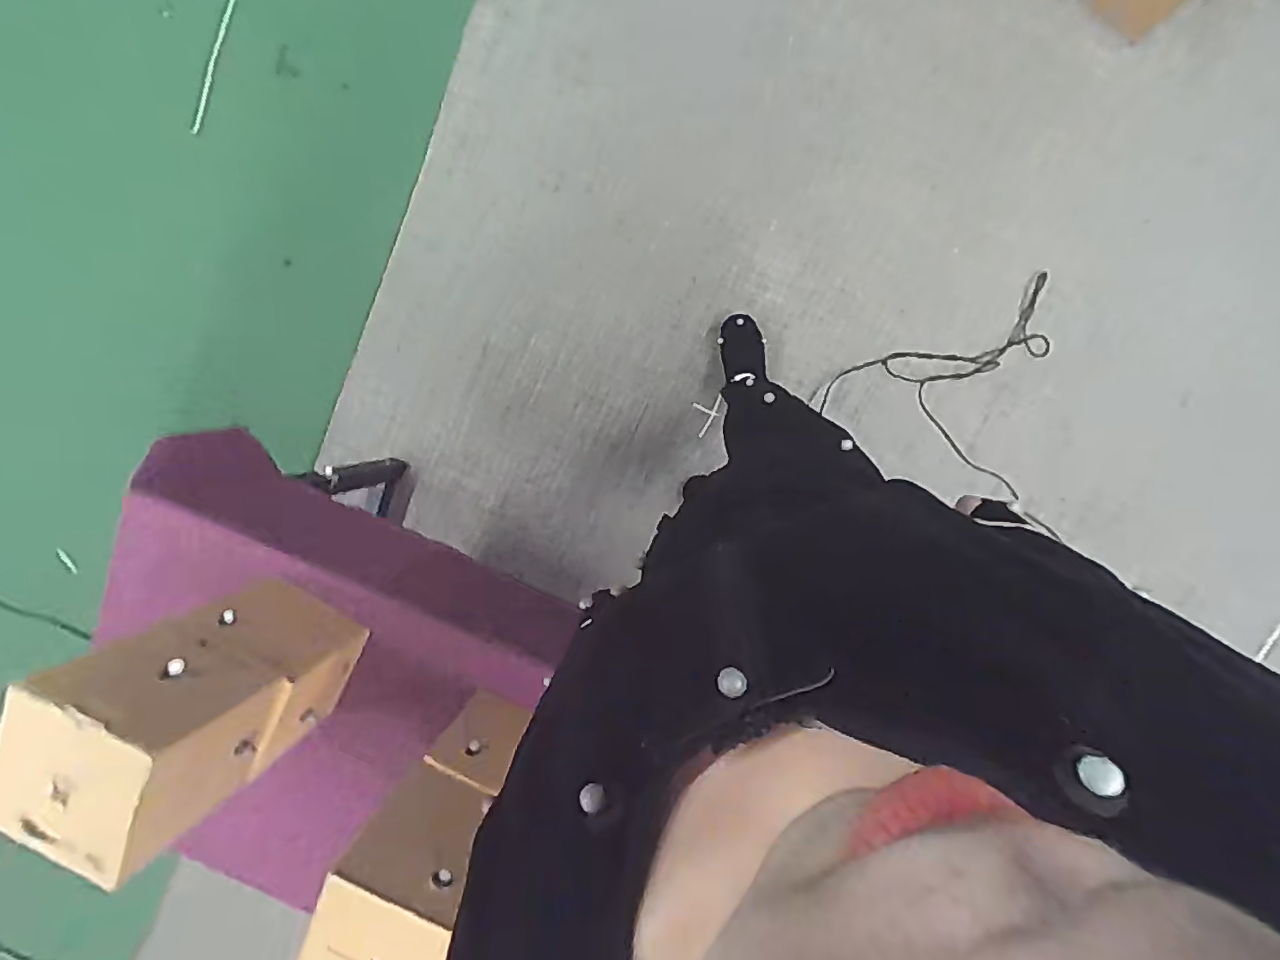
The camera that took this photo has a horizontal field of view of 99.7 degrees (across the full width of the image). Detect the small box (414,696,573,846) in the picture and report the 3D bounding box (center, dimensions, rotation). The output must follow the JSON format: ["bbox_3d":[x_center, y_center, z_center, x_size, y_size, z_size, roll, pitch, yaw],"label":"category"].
[{"bbox_3d":[-0.218,0.439,0.763,0.179,0.176,0.168,26,101,3],"label":"small box"}]

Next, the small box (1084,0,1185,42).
[{"bbox_3d":[1.099,-1.091,1.138,0.179,0.176,0.168,42,101,-1],"label":"small box"}]

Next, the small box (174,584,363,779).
[{"bbox_3d":[-0.544,0.275,0.781,0.179,0.176,0.168,29,100,3],"label":"small box"}]

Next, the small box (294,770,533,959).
[{"bbox_3d":[-0.241,0.468,0.603,0.179,0.176,0.168,23,100,4],"label":"small box"}]

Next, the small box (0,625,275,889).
[{"bbox_3d":[-0.567,0.297,0.620,0.168,0.176,0.179,26,100,3],"label":"small box"}]
